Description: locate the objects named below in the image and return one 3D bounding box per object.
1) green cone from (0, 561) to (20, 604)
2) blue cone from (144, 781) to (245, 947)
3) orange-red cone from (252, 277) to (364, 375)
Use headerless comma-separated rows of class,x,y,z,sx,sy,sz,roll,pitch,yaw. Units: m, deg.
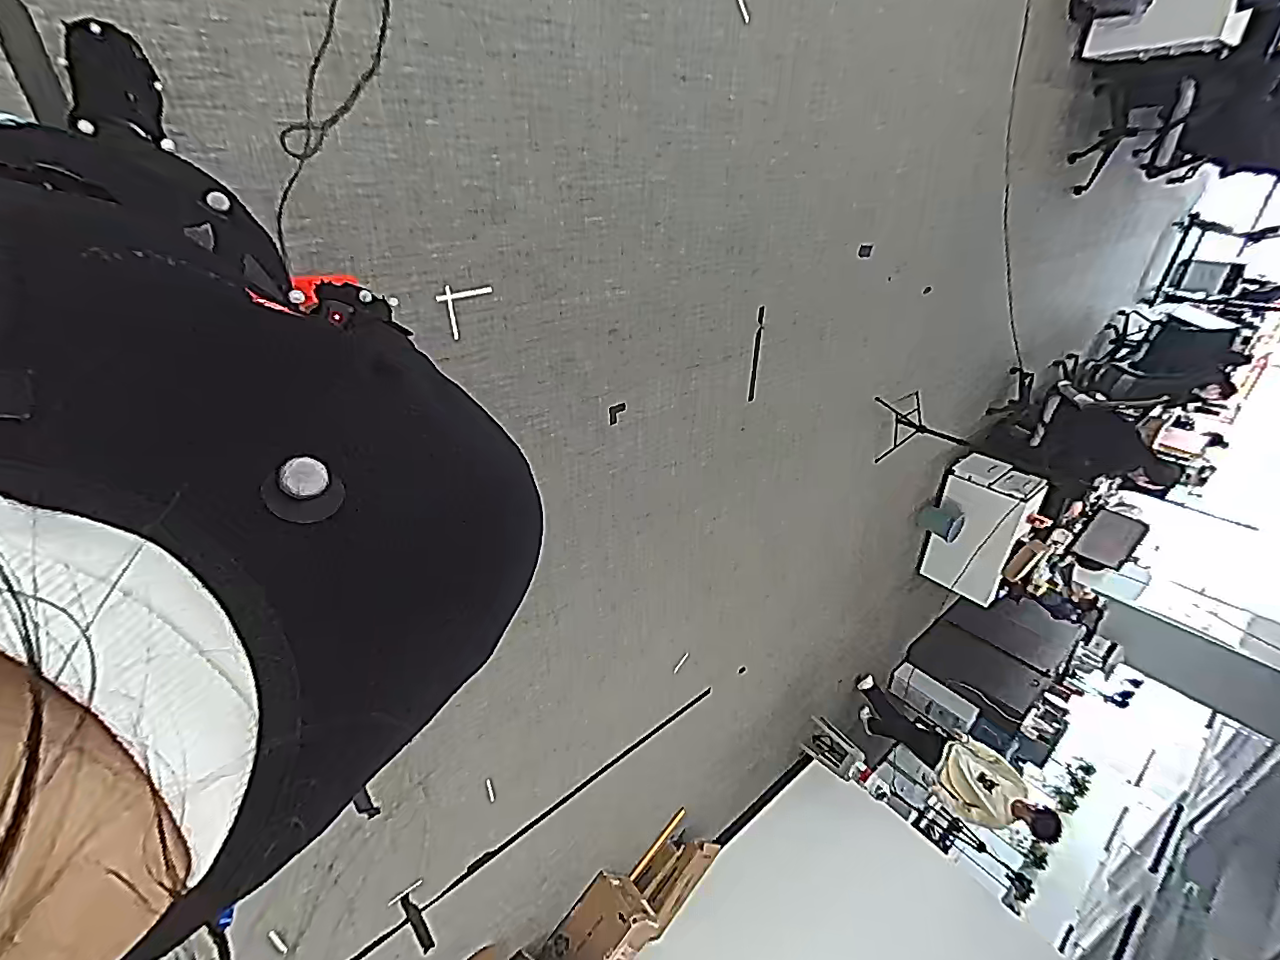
green cone,-1.205,0.245,0.864,0.202,0.368,0.200,-21,126,-32
blue cone,-1.124,0.996,1.388,0.192,0.380,0.193,-17,123,-34
orange-red cone,-0.630,-0.281,1.100,0.199,0.360,0.198,-18,126,-36
